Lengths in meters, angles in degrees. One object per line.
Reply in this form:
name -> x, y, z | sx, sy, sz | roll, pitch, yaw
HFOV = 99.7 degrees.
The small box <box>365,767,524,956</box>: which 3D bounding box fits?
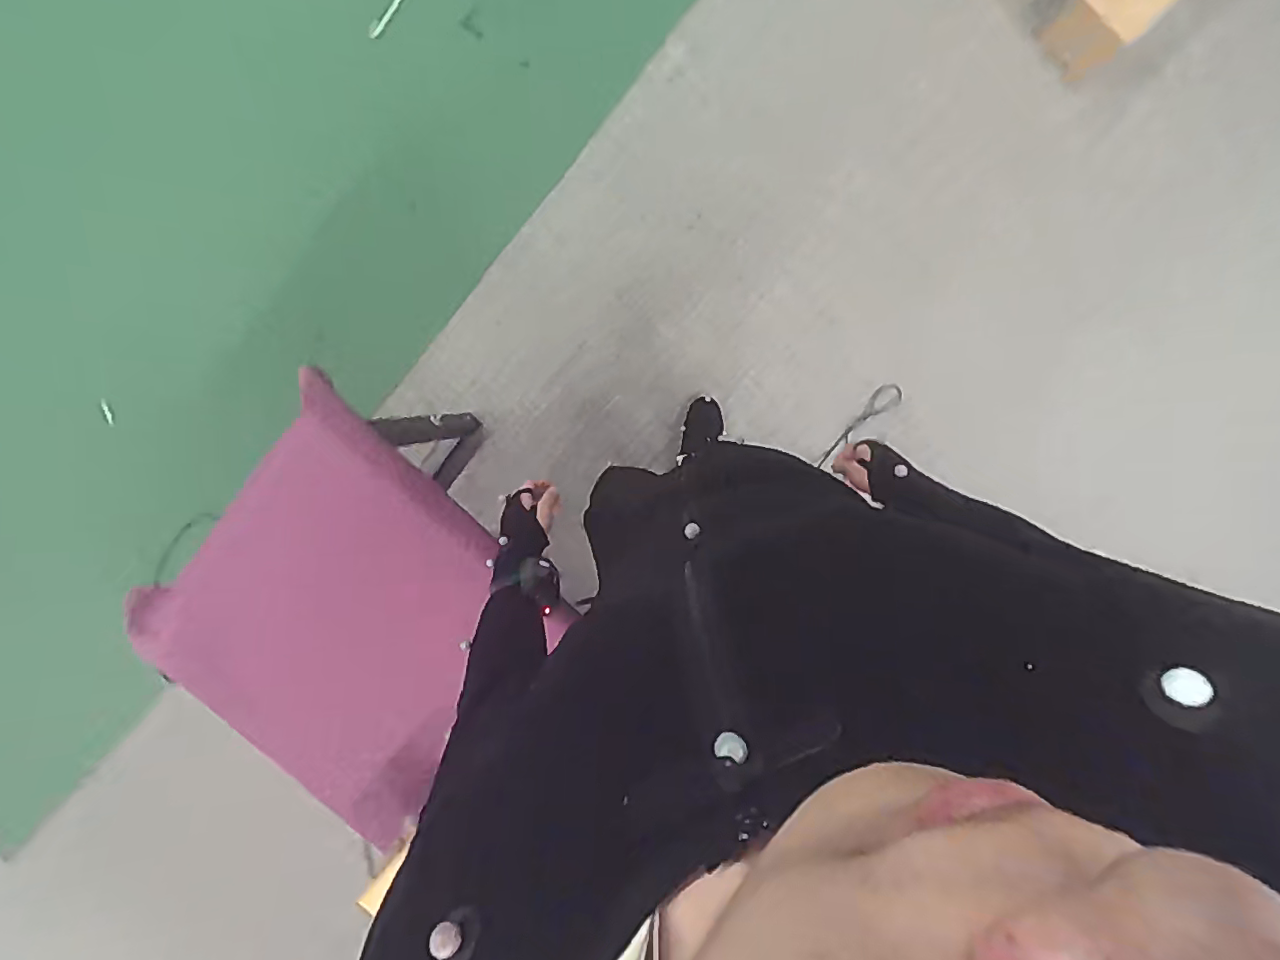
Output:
small box -> -0.333, 0.664, 0.960 | 0.168, 0.176, 0.179 | 41, 99, -1
